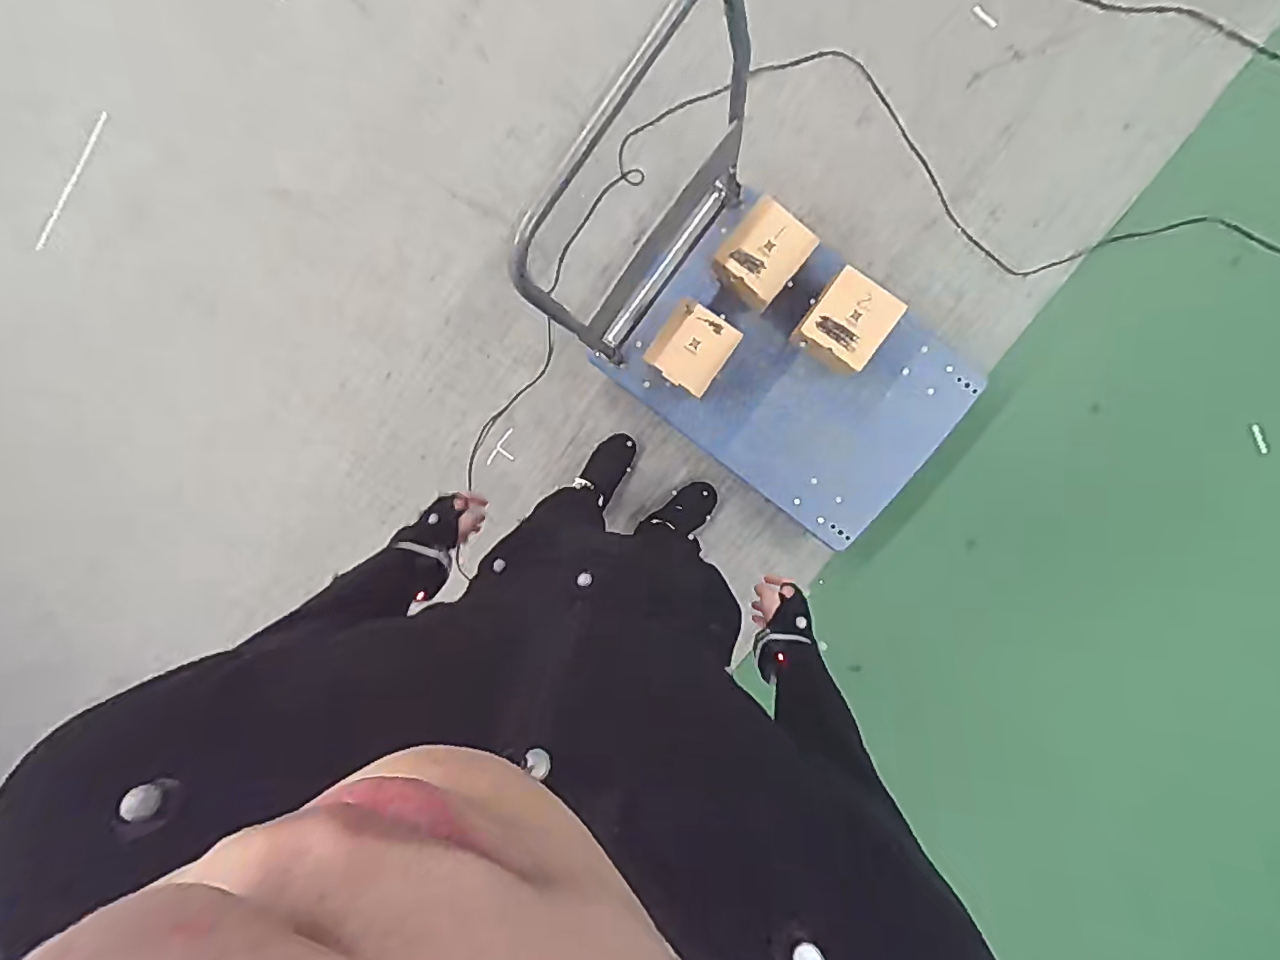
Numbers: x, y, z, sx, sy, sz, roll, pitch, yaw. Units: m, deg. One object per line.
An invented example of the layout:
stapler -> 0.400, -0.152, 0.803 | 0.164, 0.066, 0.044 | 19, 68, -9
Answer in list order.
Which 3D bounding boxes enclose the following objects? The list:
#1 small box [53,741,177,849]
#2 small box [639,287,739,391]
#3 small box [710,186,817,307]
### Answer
small box -> -1.542, 0.924, 1.599 | 0.168, 0.176, 0.179 | 44, 97, -2
small box -> 0.117, -0.328, 1.301 | 0.168, 0.176, 0.179 | 36, 99, -2
small box -> 0.279, -0.532, 1.263 | 0.168, 0.176, 0.179 | 41, 98, -2
